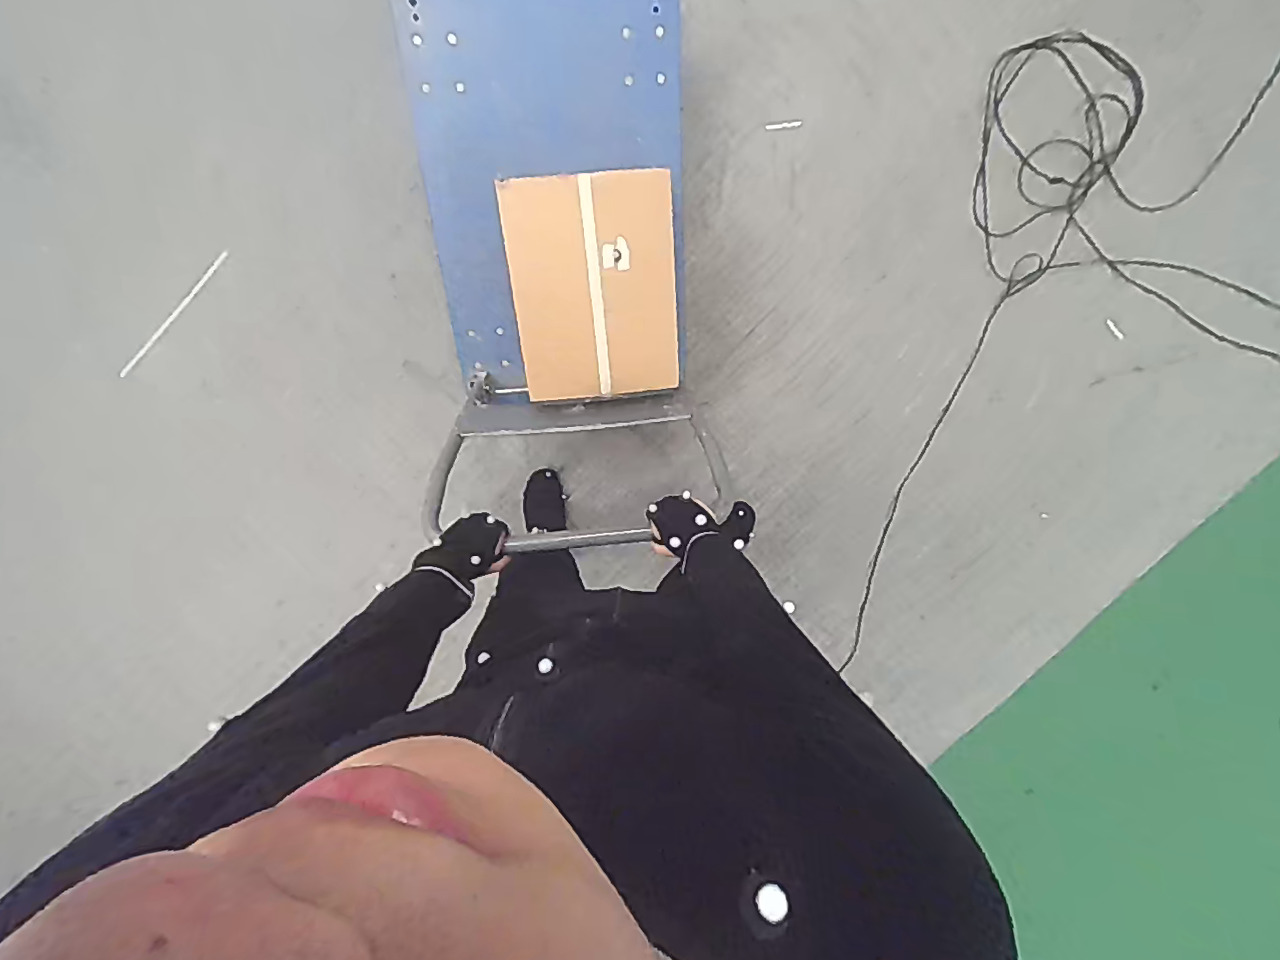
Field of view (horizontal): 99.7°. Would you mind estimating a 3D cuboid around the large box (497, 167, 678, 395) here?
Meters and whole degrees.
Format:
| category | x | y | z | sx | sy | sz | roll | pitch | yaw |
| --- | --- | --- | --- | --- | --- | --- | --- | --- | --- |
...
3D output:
| category | x | y | z | sx | sy | sz | roll | pitch | yaw |
| --- | --- | --- | --- | --- | --- | --- | --- | --- | --- |
| large box | -0.102 | -0.435 | 1.192 | 0.320 | 0.320 | 0.408 | -7 | 115 | -4 |
